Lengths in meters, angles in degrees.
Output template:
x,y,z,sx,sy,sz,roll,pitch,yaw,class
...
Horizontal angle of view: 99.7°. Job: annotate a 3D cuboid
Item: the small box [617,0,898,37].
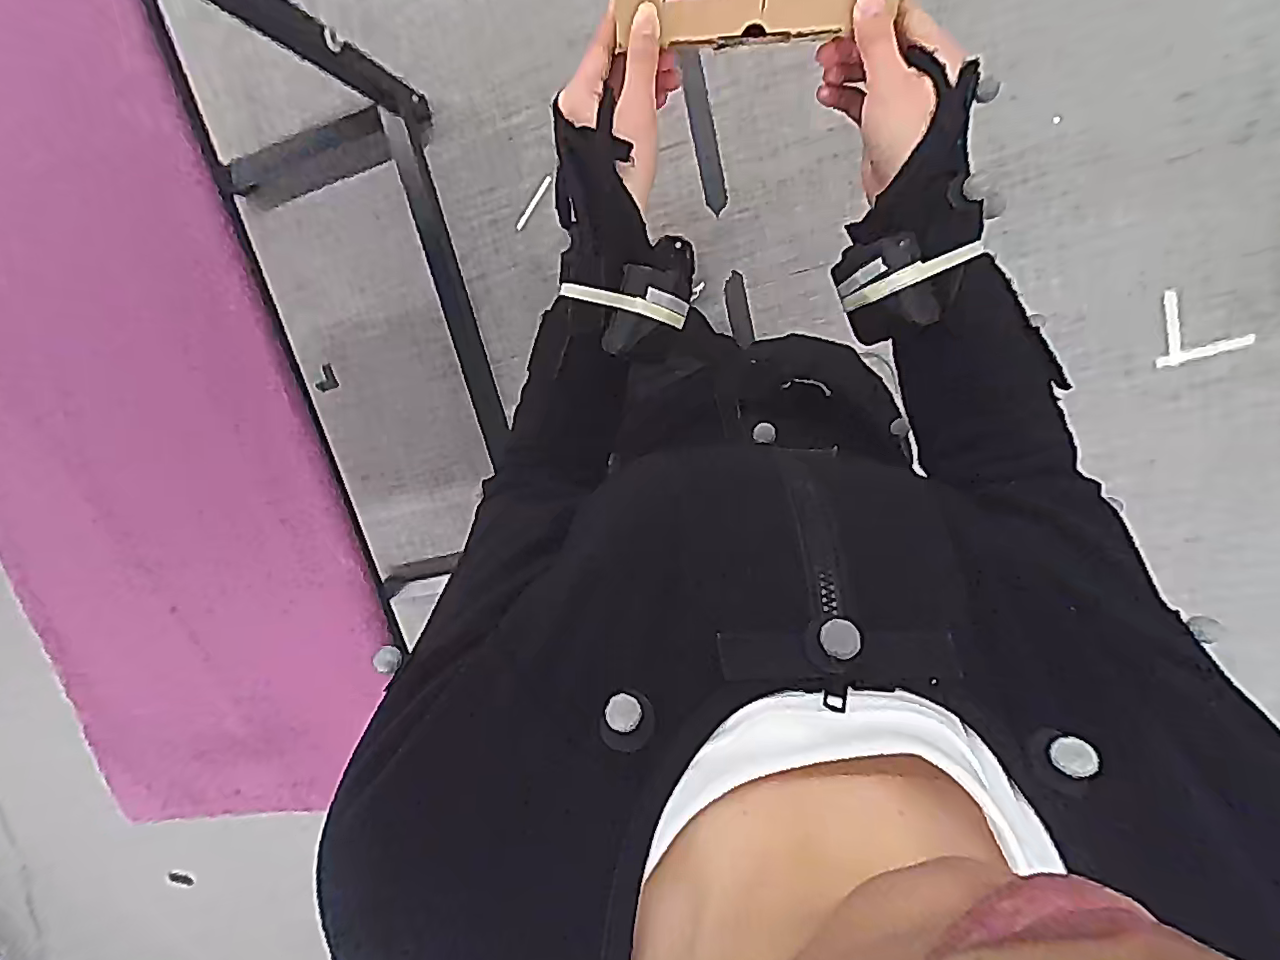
x,y,z,sx,sy,sz,roll,pitch,yaw,class
0.070,-0.388,0.333,0.168,0.176,0.179,0,127,4,small box
